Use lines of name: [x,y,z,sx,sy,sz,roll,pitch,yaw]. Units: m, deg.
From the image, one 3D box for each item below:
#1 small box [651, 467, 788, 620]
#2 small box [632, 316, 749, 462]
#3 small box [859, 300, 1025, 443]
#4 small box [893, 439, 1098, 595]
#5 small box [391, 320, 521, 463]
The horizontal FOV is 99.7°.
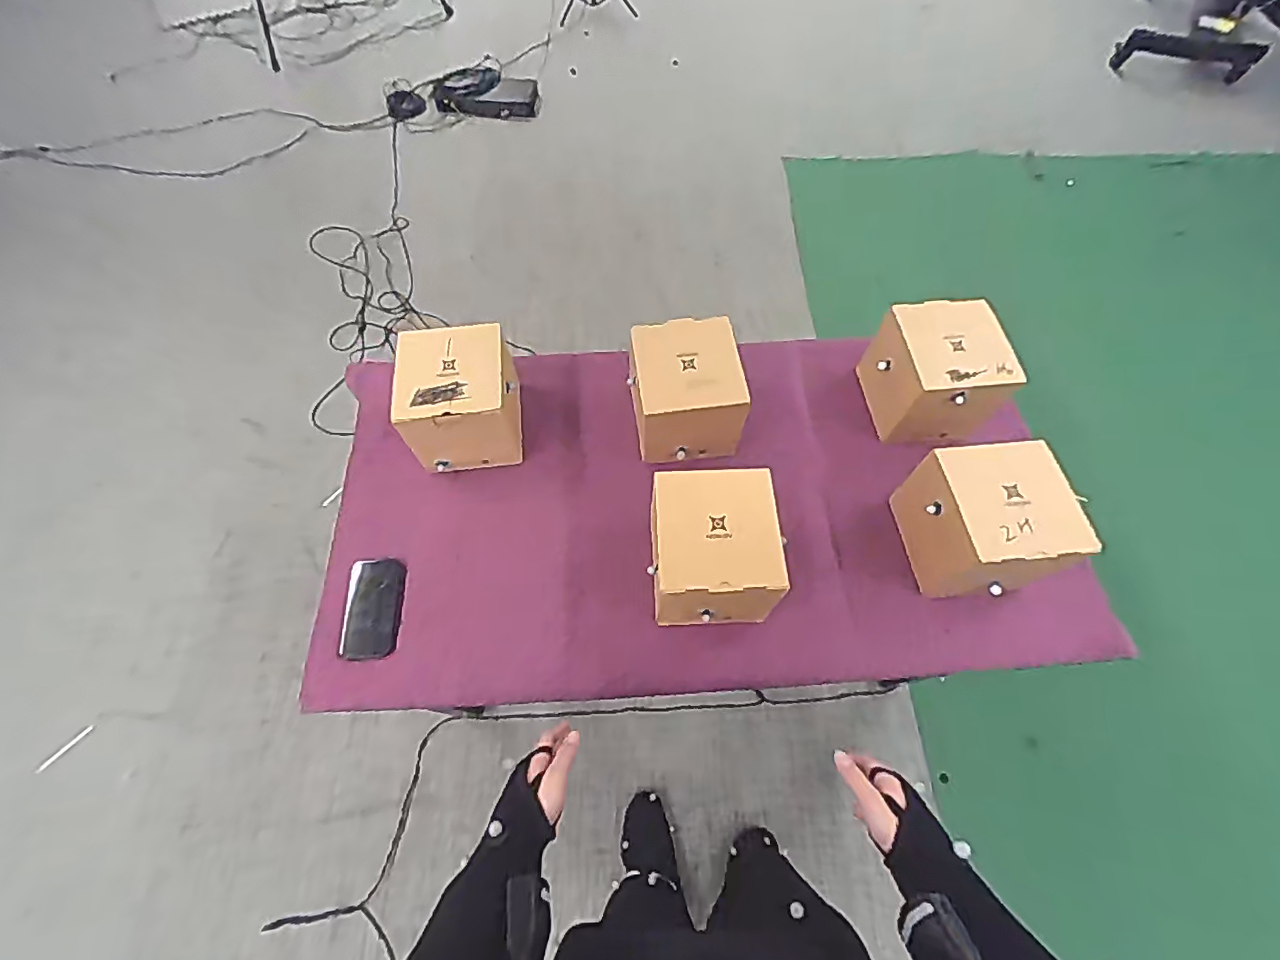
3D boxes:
small box: [0.103,0.096,0.789,0.168,0.176,0.179,-2,62,-1]
small box: [0.074,-0.150,0.916,0.168,0.176,0.179,-6,64,-3]
small box: [0.502,-0.183,0.934,0.168,0.176,0.179,-5,63,-2]
small box: [0.506,0.060,0.806,0.168,0.176,0.179,-4,62,-1]
small box: [-0.296,-0.139,0.906,0.168,0.176,0.179,-6,62,-4]
